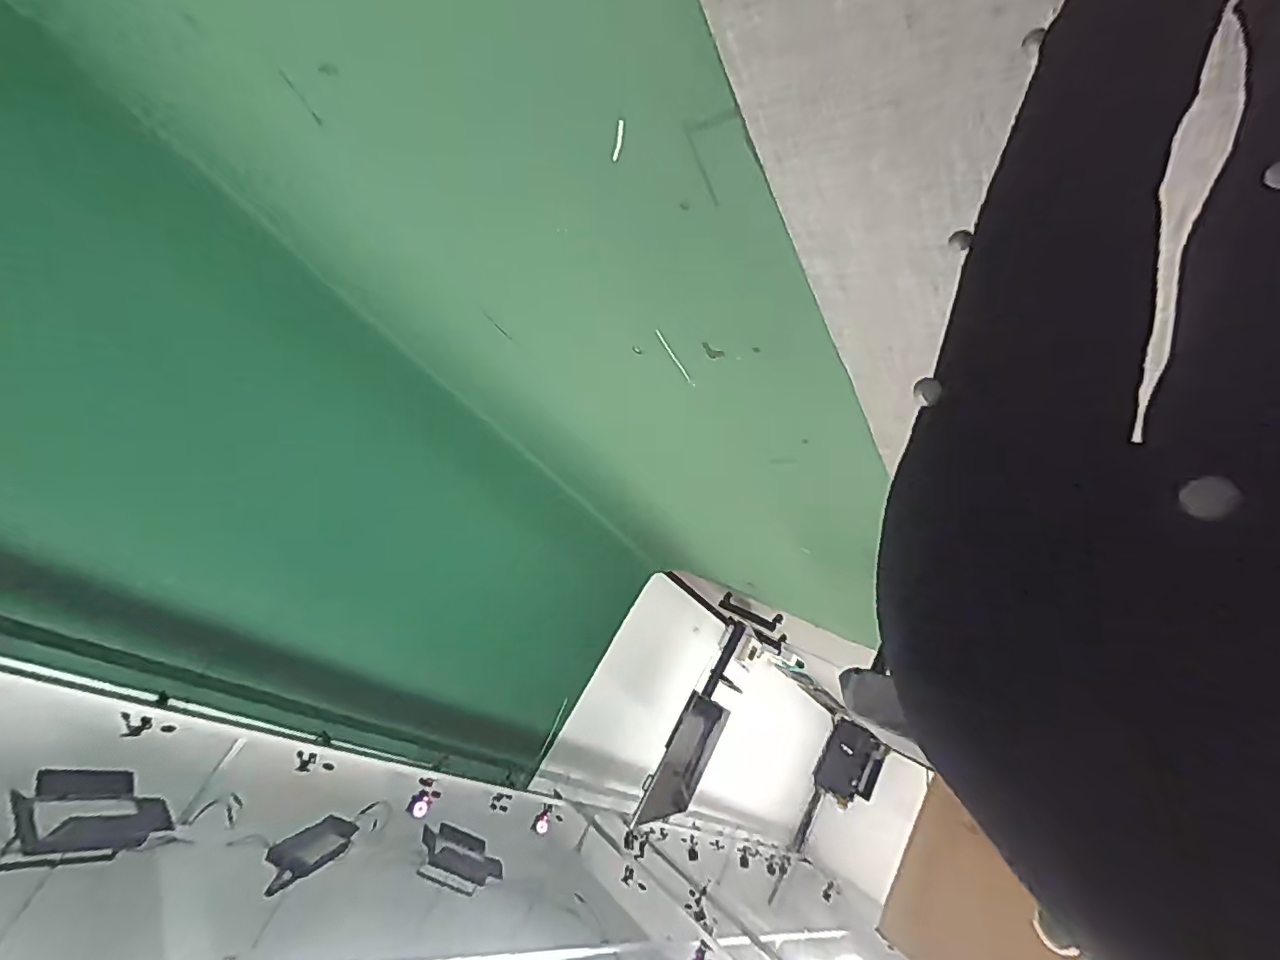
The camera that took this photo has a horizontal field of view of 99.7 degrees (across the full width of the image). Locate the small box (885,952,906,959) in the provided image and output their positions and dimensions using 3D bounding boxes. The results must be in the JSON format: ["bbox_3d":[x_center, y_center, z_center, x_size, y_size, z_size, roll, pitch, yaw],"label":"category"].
[{"bbox_3d":[0.889,1.722,1.800,0.168,0.176,0.179,18,158,46],"label":"small box"}]
